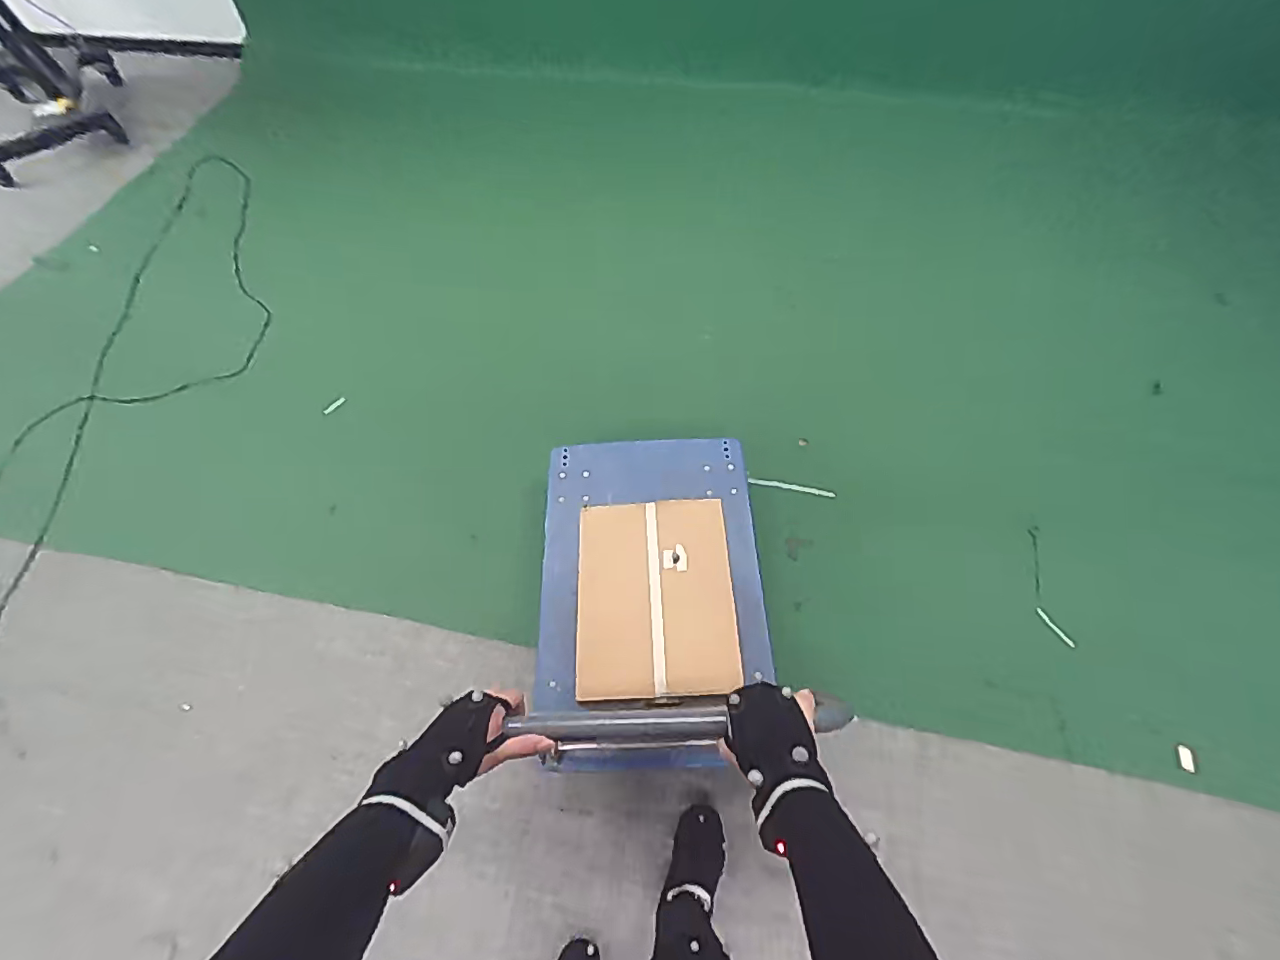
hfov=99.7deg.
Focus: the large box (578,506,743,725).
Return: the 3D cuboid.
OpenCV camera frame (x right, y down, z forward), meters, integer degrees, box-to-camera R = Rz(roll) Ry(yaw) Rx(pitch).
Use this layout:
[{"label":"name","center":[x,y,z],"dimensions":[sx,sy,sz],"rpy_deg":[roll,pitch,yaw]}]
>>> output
[{"label":"large box","center":[0.040,0.314,1.230],"dimensions":[0.320,0.320,0.408],"rpy_deg":[-3,59,2]}]
